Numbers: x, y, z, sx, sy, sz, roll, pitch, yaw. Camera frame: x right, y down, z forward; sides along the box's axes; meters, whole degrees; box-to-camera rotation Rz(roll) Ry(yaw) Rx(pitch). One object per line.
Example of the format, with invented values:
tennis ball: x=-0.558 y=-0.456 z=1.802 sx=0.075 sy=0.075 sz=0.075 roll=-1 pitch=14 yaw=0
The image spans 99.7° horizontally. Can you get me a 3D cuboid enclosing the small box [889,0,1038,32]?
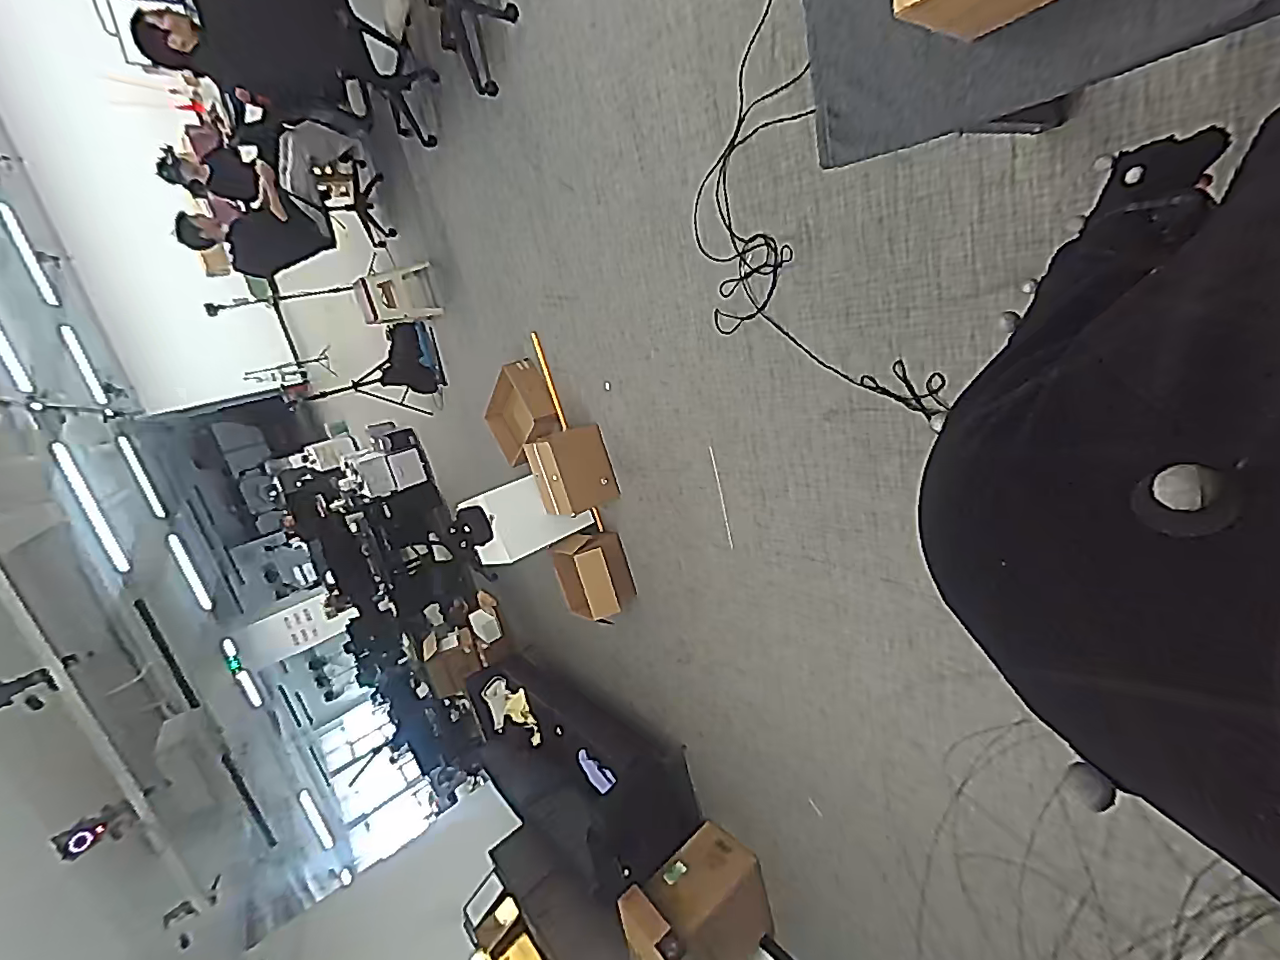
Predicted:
small box: x=0.328 y=-0.523 z=0.454 sx=0.179 sy=0.176 sz=0.168 roll=8 pitch=115 yaw=52
